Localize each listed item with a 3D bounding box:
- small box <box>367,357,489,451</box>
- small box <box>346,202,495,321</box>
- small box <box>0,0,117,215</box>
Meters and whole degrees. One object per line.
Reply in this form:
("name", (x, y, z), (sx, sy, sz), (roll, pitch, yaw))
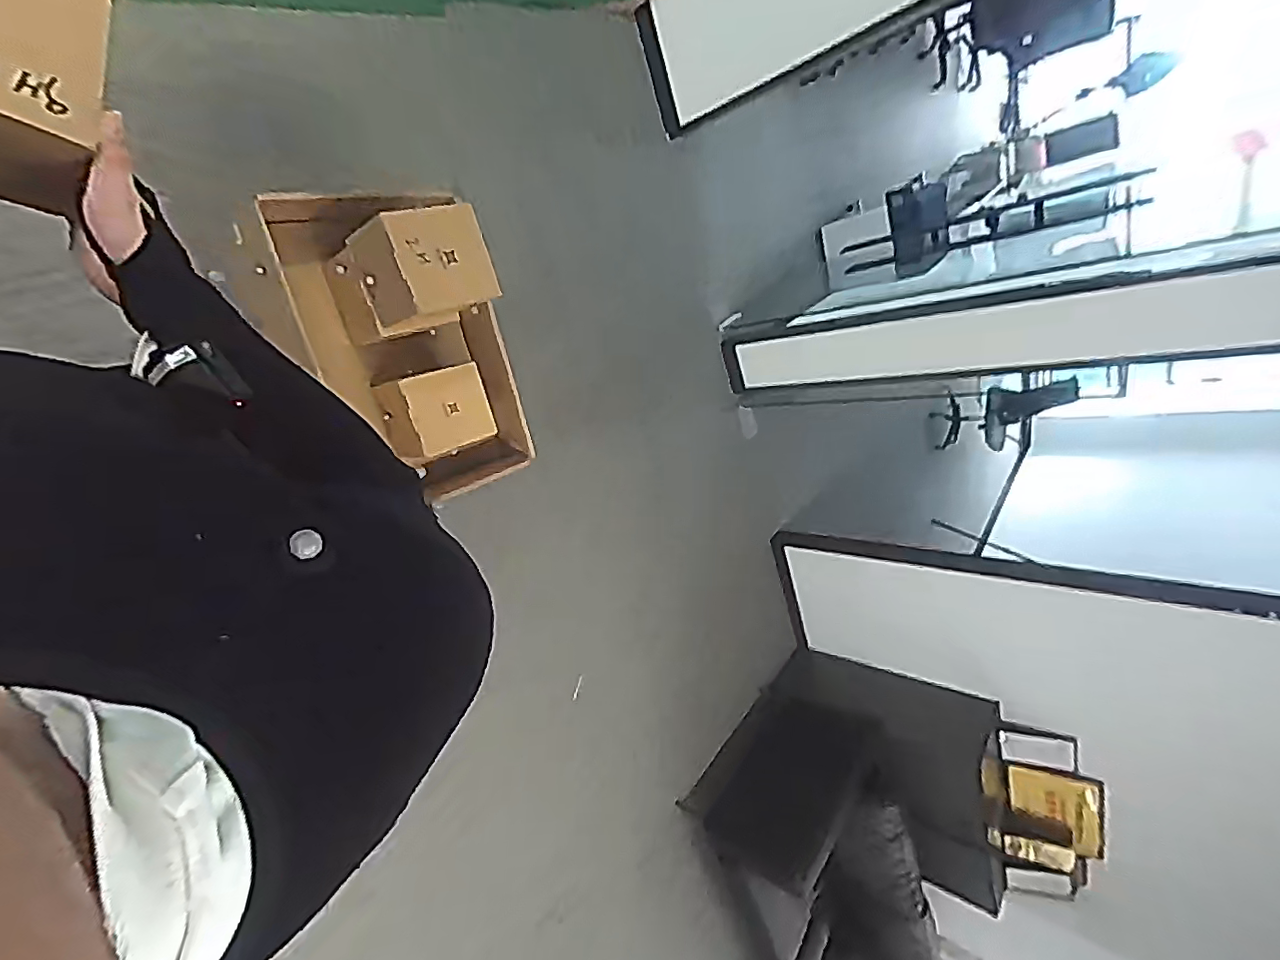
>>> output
("small box", (-0.473, -0.172, 1.208), (0.179, 0.176, 0.168), (-29, 114, -40))
("small box", (-0.408, -0.405, 1.009), (0.179, 0.176, 0.168), (-33, 117, -39))
("small box", (-0.507, -0.327, 0.386), (0.168, 0.176, 0.179), (5, 87, -52))
